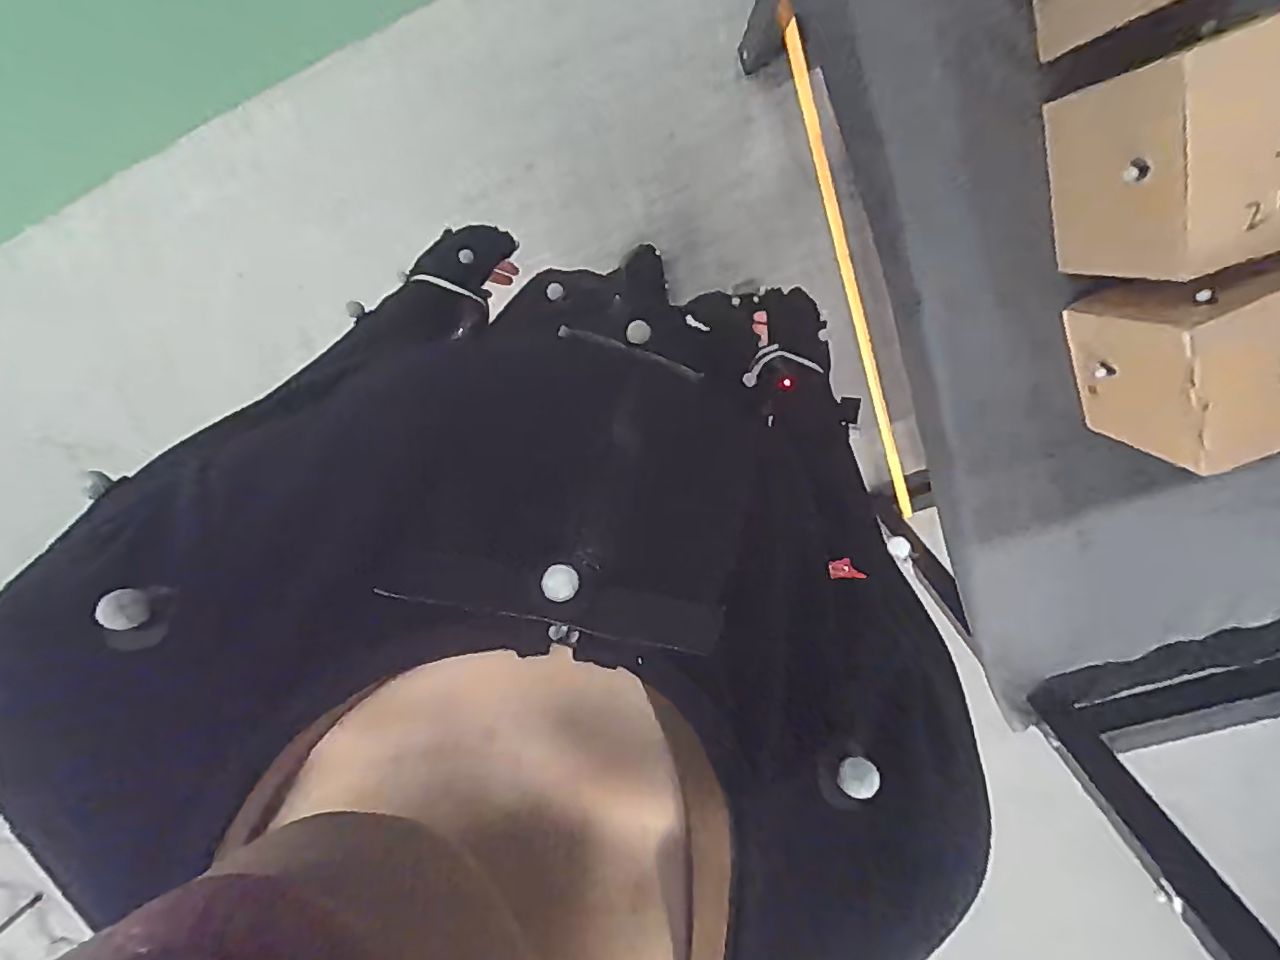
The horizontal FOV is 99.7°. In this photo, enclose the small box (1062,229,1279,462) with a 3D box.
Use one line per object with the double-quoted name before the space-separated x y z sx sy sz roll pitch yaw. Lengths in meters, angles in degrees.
"small box" 0.608 -0.151 0.577 0.179 0.176 0.168 -25 111 13
